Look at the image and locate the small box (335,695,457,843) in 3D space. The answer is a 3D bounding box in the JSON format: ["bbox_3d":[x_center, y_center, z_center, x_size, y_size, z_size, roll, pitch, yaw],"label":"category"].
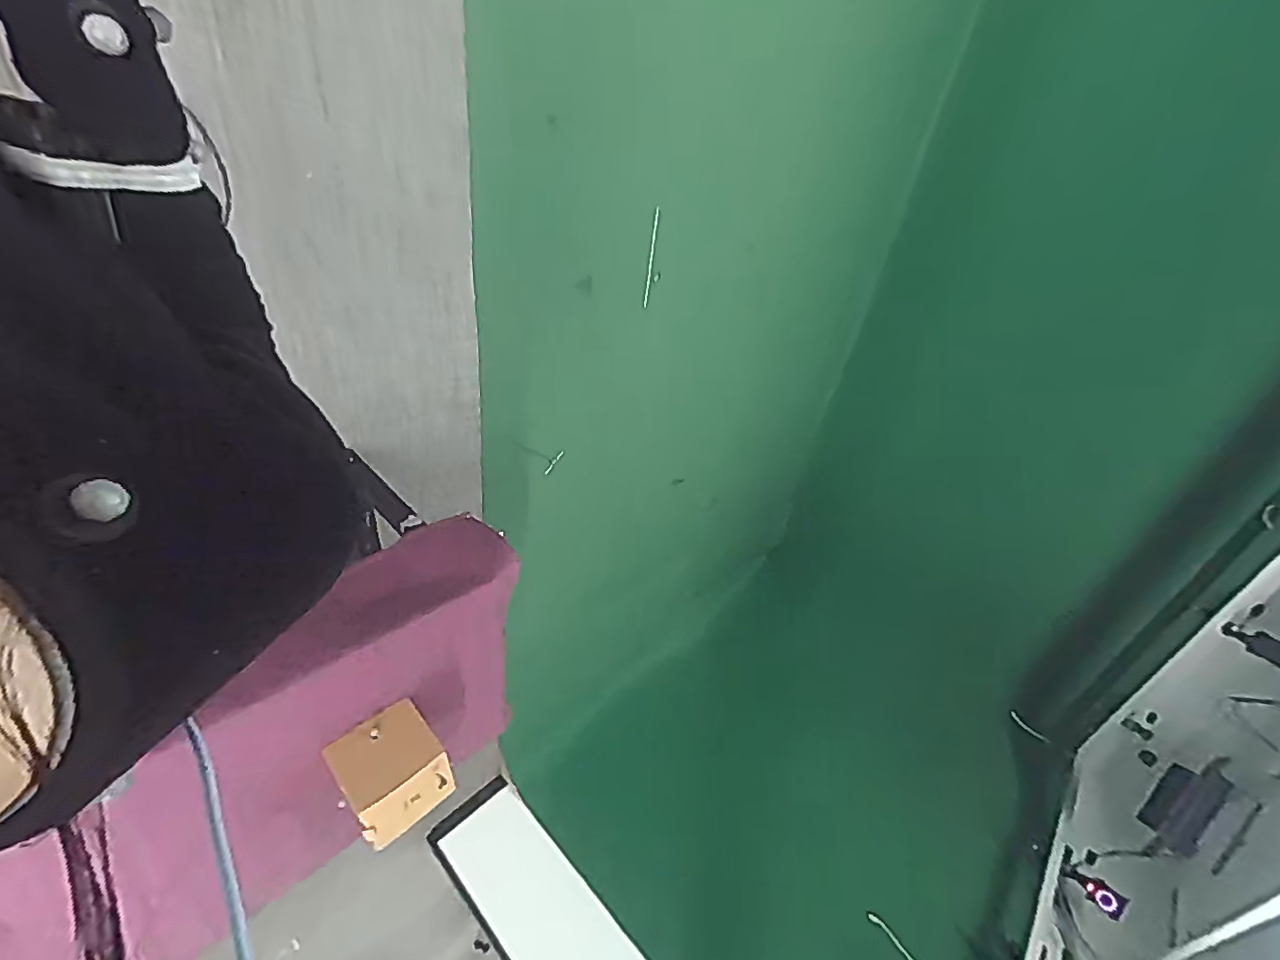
[{"bbox_3d":[-0.512,0.595,1.130,0.179,0.176,0.168,-28,138,-37],"label":"small box"}]
